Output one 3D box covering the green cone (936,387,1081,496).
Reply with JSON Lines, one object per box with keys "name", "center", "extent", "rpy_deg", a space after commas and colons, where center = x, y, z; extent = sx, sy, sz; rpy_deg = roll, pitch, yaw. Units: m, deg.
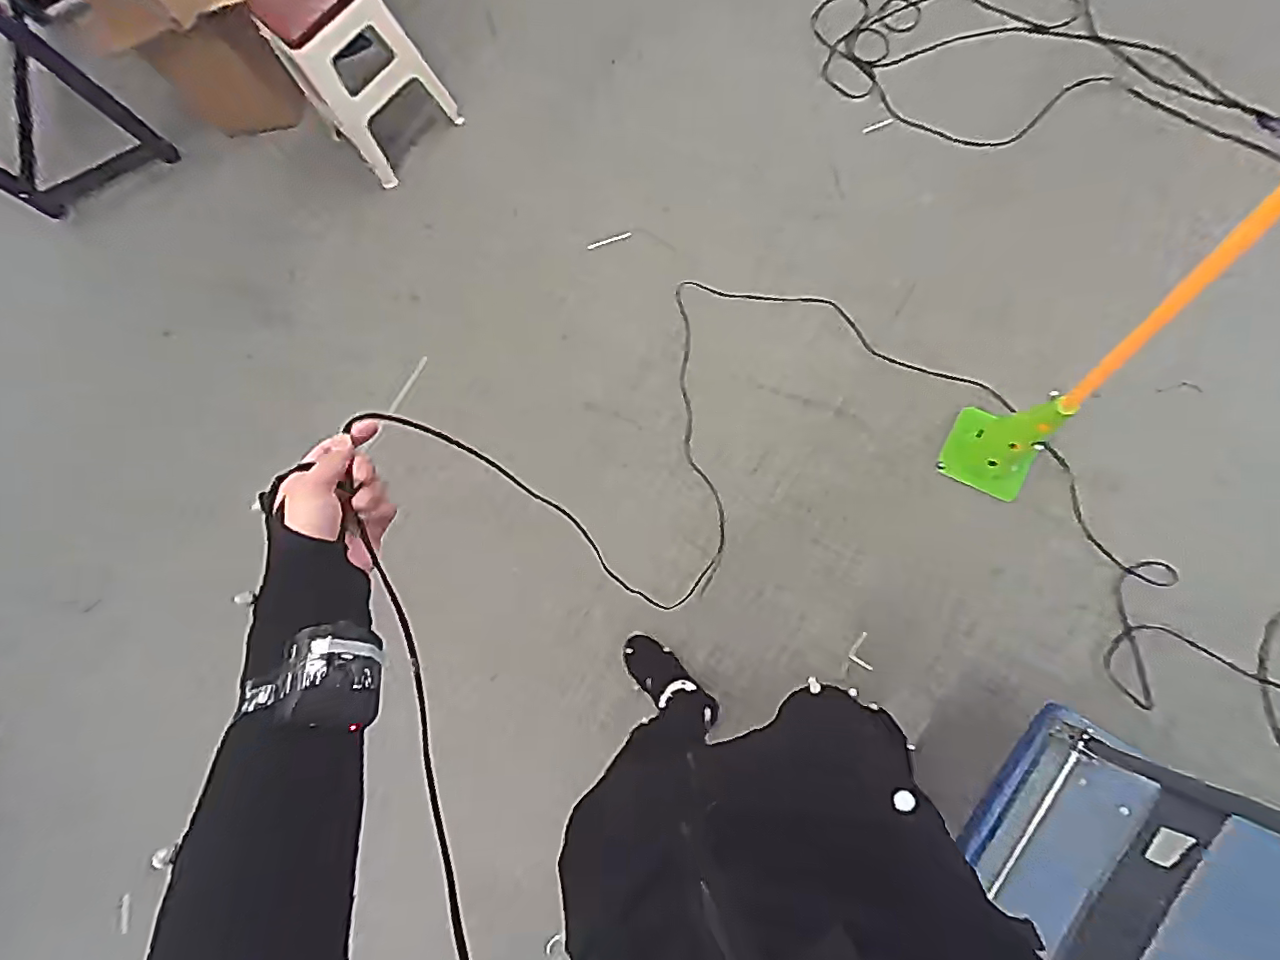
{"name": "green cone", "center": [0.863, -0.118, 1.218], "extent": [0.200, 0.368, 0.202], "rpy_deg": [27, 83, 14]}
